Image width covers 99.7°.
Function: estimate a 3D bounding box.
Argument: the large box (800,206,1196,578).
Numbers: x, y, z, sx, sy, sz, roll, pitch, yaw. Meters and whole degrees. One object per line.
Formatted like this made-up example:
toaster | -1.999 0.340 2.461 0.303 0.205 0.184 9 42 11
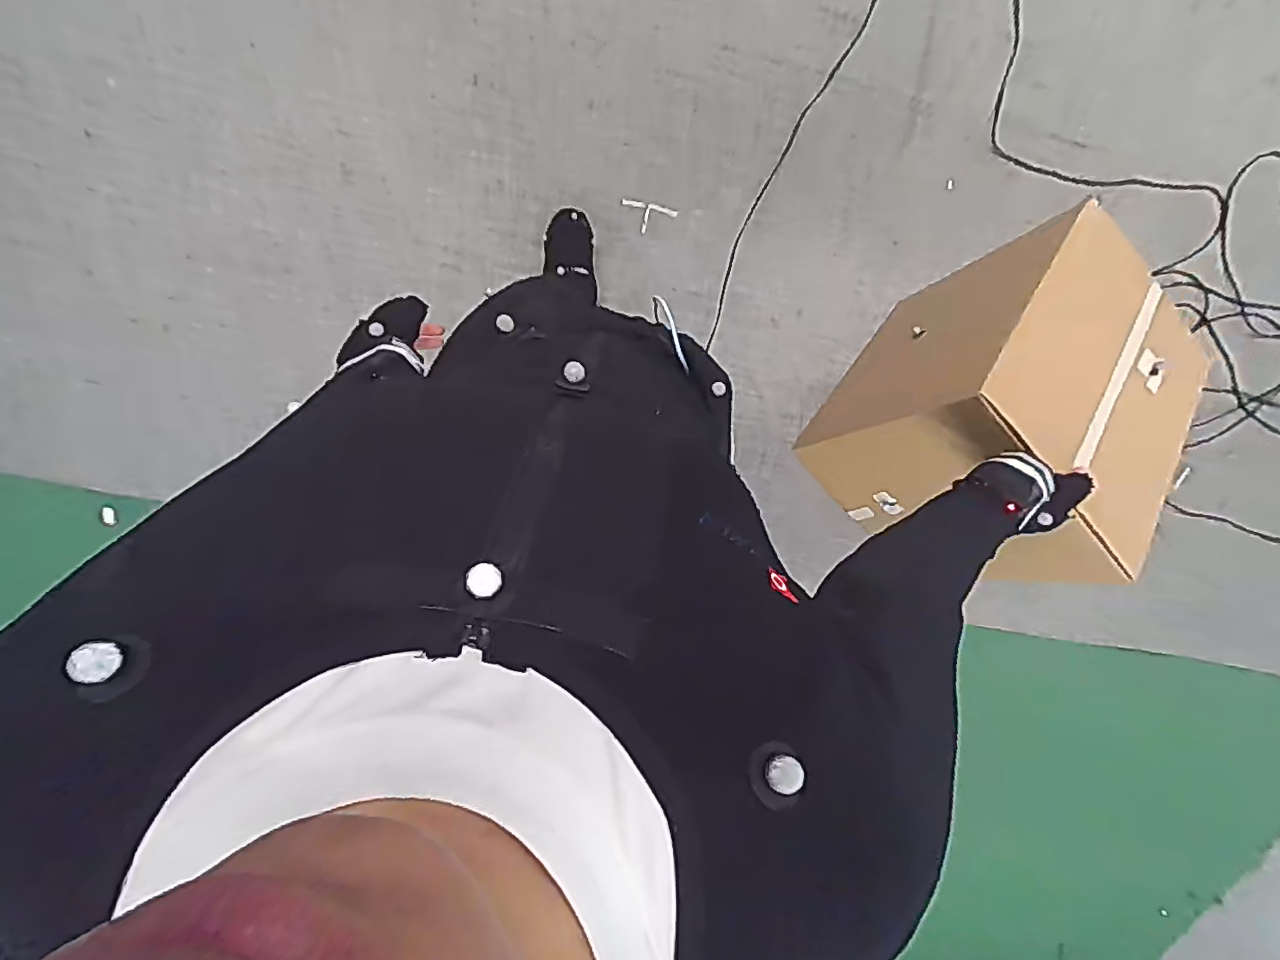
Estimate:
large box | 0.522 -0.102 0.814 0.320 0.320 0.408 45 68 -12
